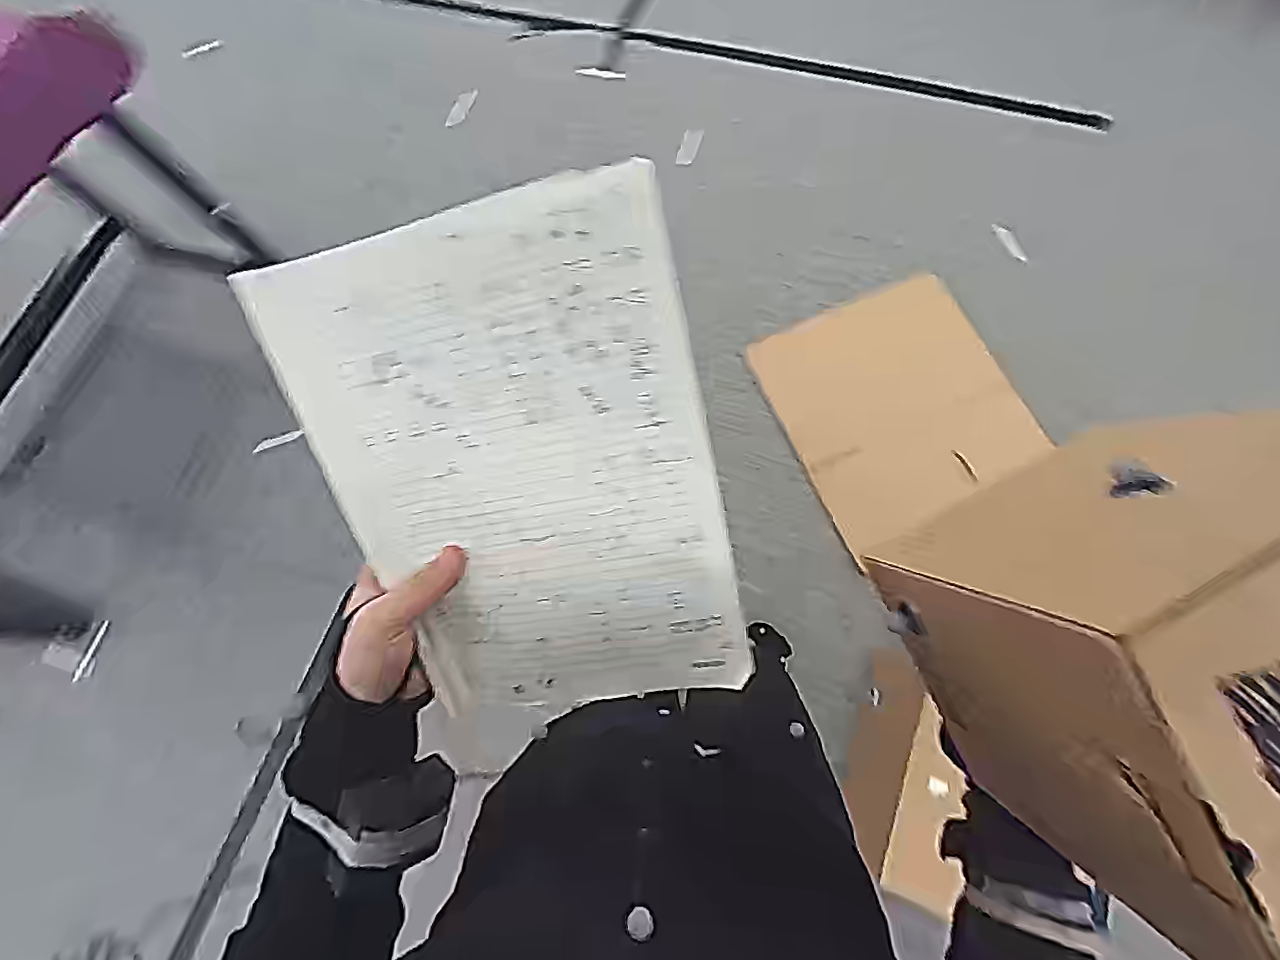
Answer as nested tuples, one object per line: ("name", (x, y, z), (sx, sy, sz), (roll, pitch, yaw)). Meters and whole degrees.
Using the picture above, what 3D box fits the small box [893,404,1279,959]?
("small box", (0.255, 0.076, 0.257), (0.179, 0.176, 0.168), (-29, 93, -4))
